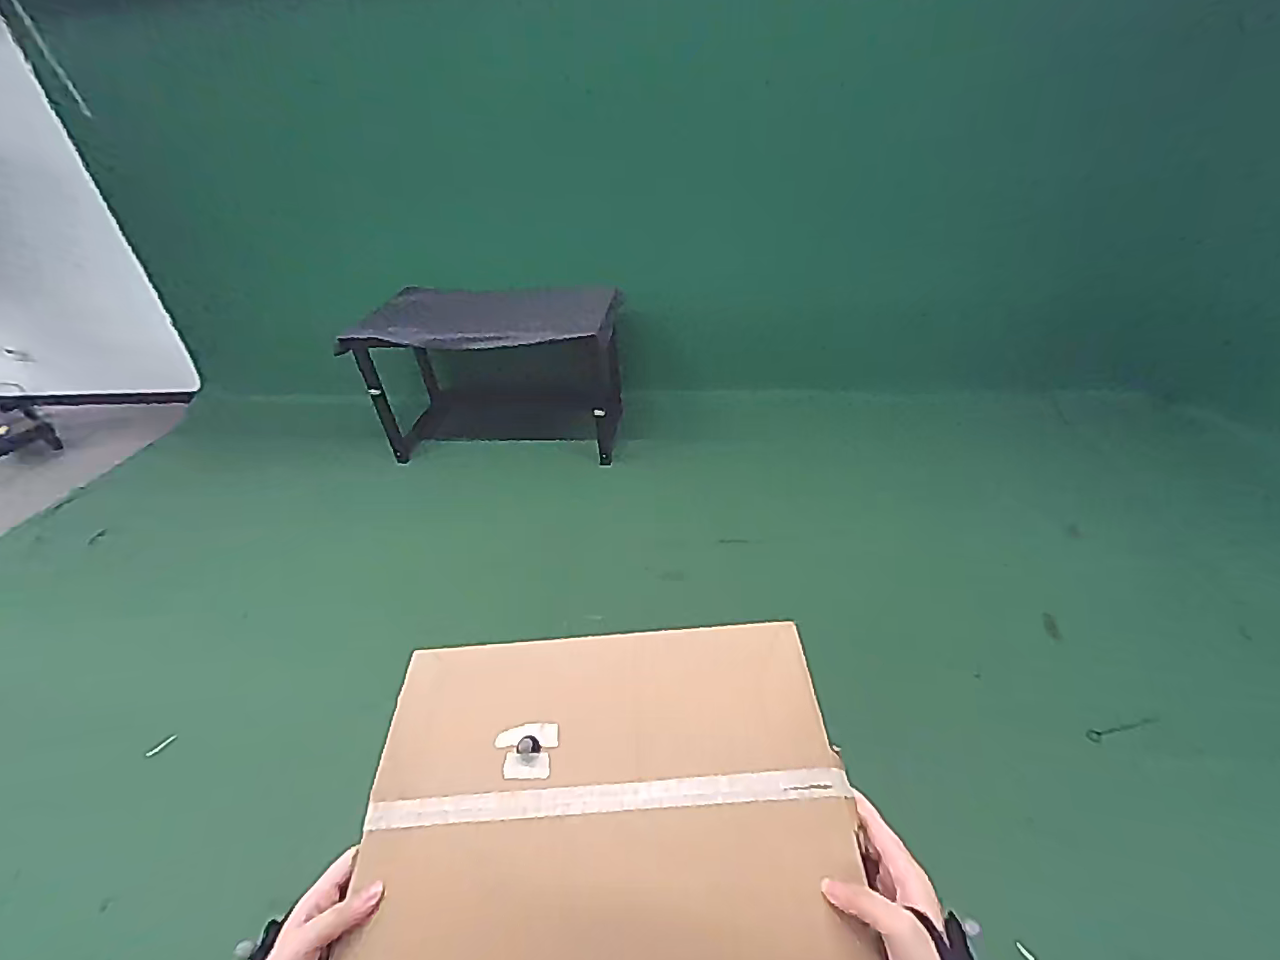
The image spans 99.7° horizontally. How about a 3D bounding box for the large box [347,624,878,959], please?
[{"bbox_3d":[-0.015,0.386,0.577,0.408,0.320,0.320,-6,44,3],"label":"large box"}]
